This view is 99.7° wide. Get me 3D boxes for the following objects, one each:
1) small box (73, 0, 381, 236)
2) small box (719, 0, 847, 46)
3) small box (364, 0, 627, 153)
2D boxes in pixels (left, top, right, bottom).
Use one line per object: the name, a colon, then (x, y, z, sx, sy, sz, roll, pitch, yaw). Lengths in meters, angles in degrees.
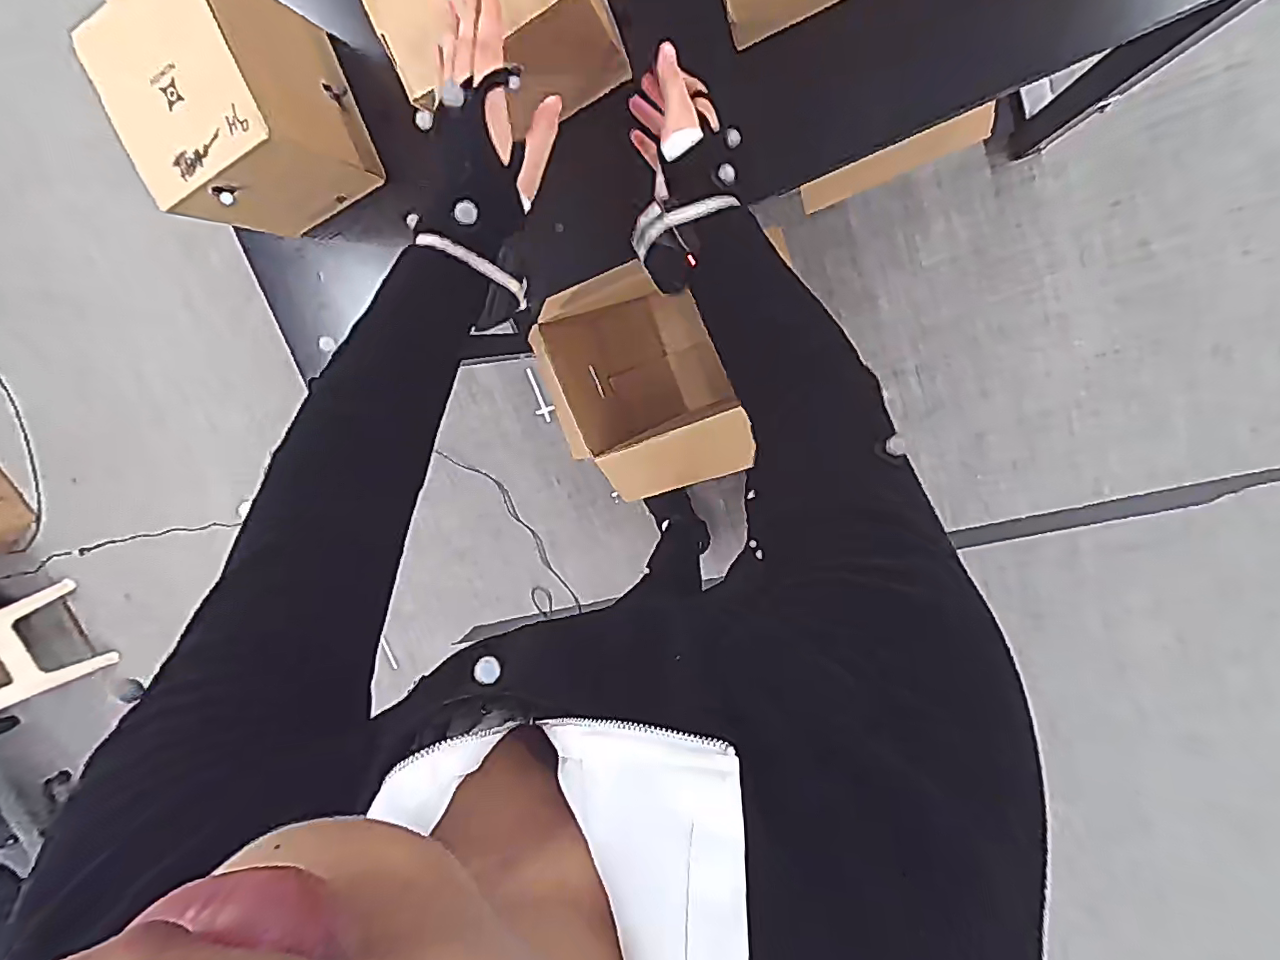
small box: (-0.428, -0.395, 0.589, 0.168, 0.176, 0.179, -18, 100, 18)
small box: (0.129, -0.494, 0.419, 0.179, 0.176, 0.168, -15, 101, 17)
small box: (-0.134, -0.443, 0.503, 0.179, 0.176, 0.168, -20, 100, 18)
